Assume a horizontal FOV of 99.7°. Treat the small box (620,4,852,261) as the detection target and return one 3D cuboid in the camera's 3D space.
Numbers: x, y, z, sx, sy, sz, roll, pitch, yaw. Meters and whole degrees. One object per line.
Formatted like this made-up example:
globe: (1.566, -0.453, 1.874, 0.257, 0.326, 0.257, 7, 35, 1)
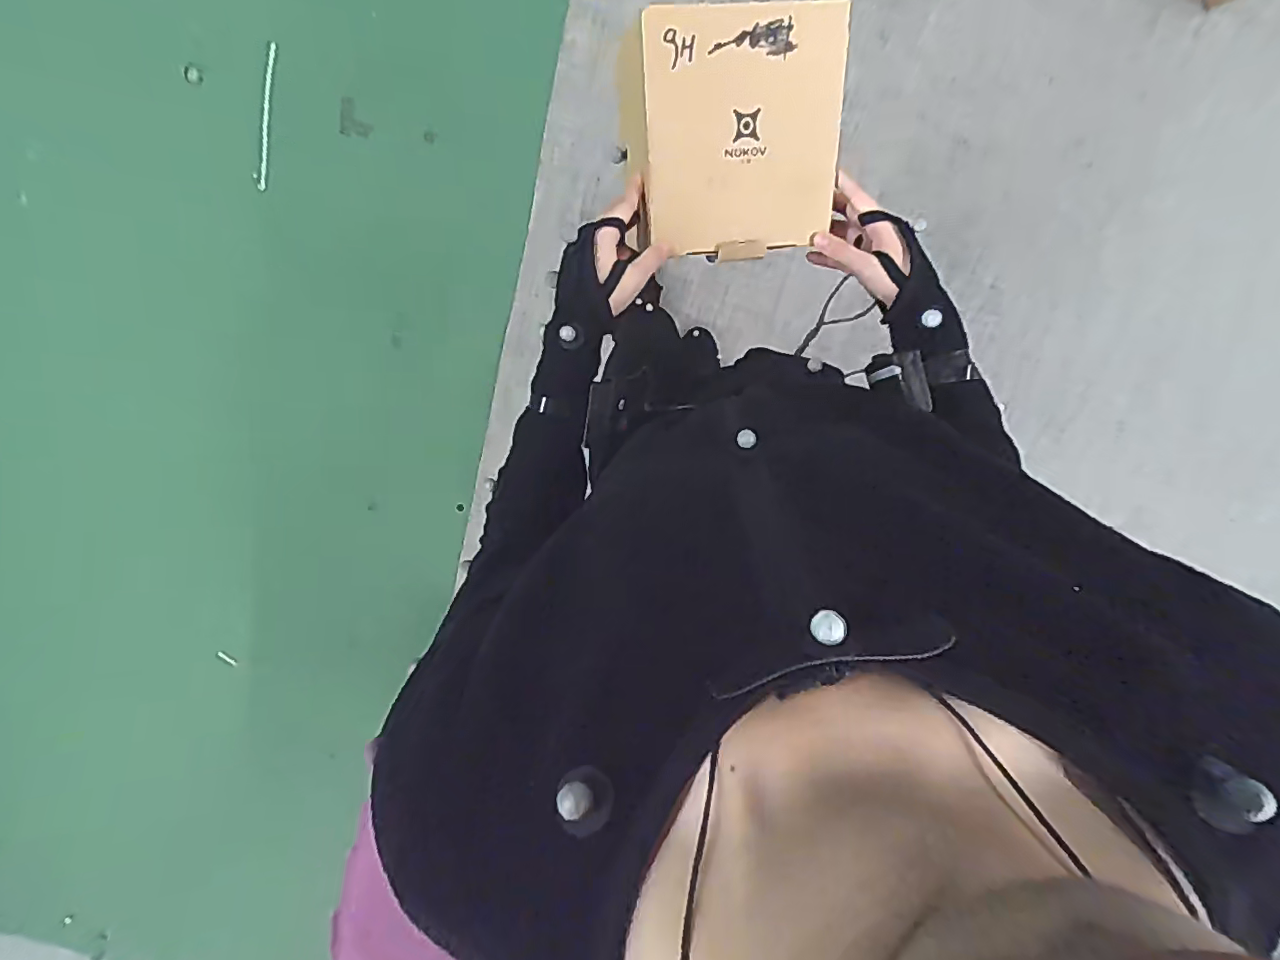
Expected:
small box: (0.074, -0.316, 0.514, 0.168, 0.176, 0.179, -7, 118, -6)
